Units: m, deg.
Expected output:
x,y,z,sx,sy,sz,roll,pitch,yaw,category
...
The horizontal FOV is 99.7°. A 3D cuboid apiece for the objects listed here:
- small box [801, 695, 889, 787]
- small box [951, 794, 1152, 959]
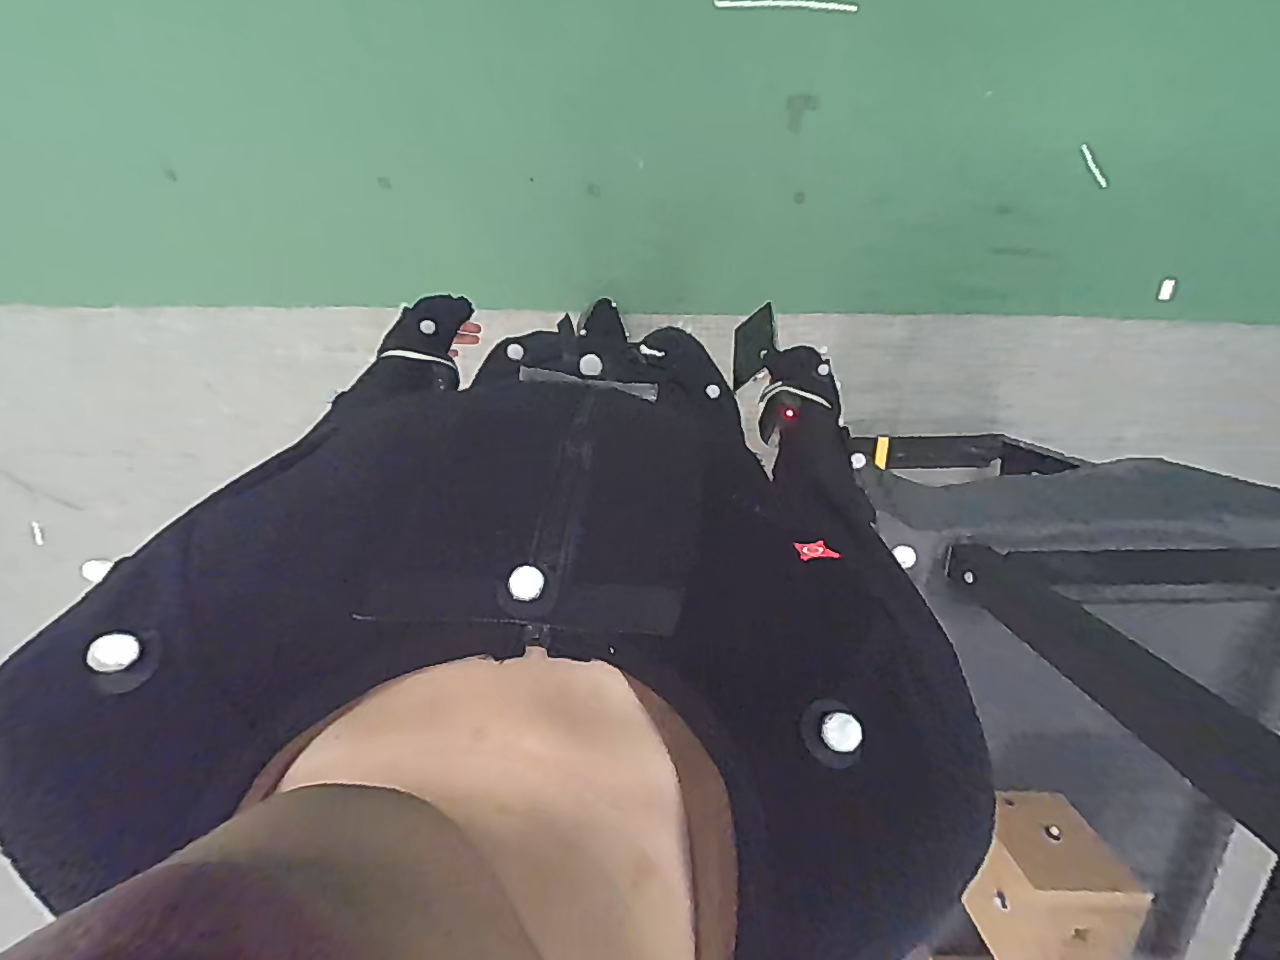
x,y,z,sx,sy,sz,roll,pitch,yaw,category
0.563,0.724,1.513,0.179,0.176,0.168,3,106,-1,small box
0.616,0.619,0.837,0.168,0.176,0.179,2,106,-1,small box
